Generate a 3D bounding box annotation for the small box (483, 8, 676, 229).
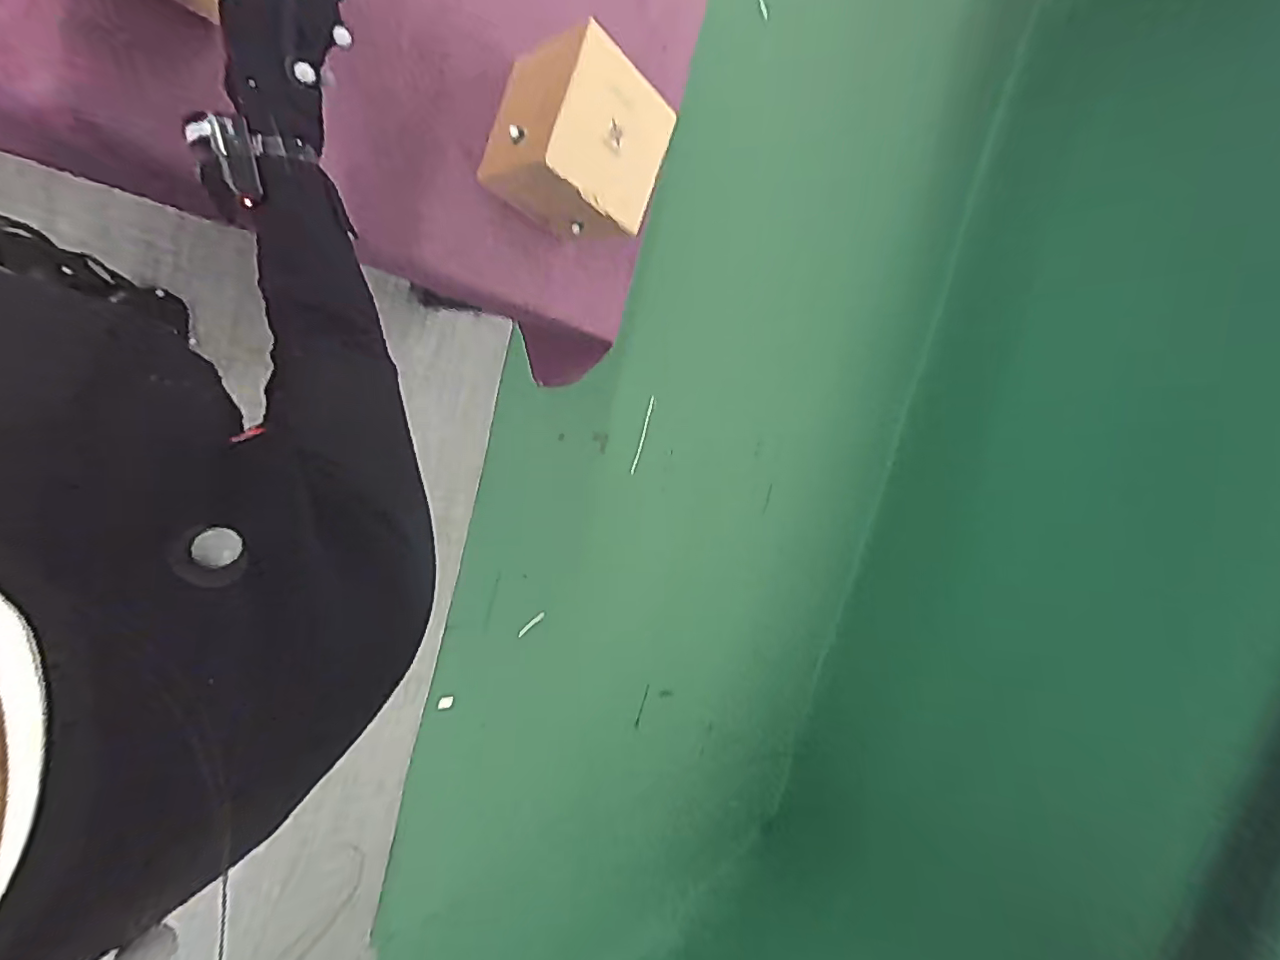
[{"bbox_3d":[-0.087,-0.462,0.730,0.168,0.176,0.179,18,92,-47],"label":"small box"}]
